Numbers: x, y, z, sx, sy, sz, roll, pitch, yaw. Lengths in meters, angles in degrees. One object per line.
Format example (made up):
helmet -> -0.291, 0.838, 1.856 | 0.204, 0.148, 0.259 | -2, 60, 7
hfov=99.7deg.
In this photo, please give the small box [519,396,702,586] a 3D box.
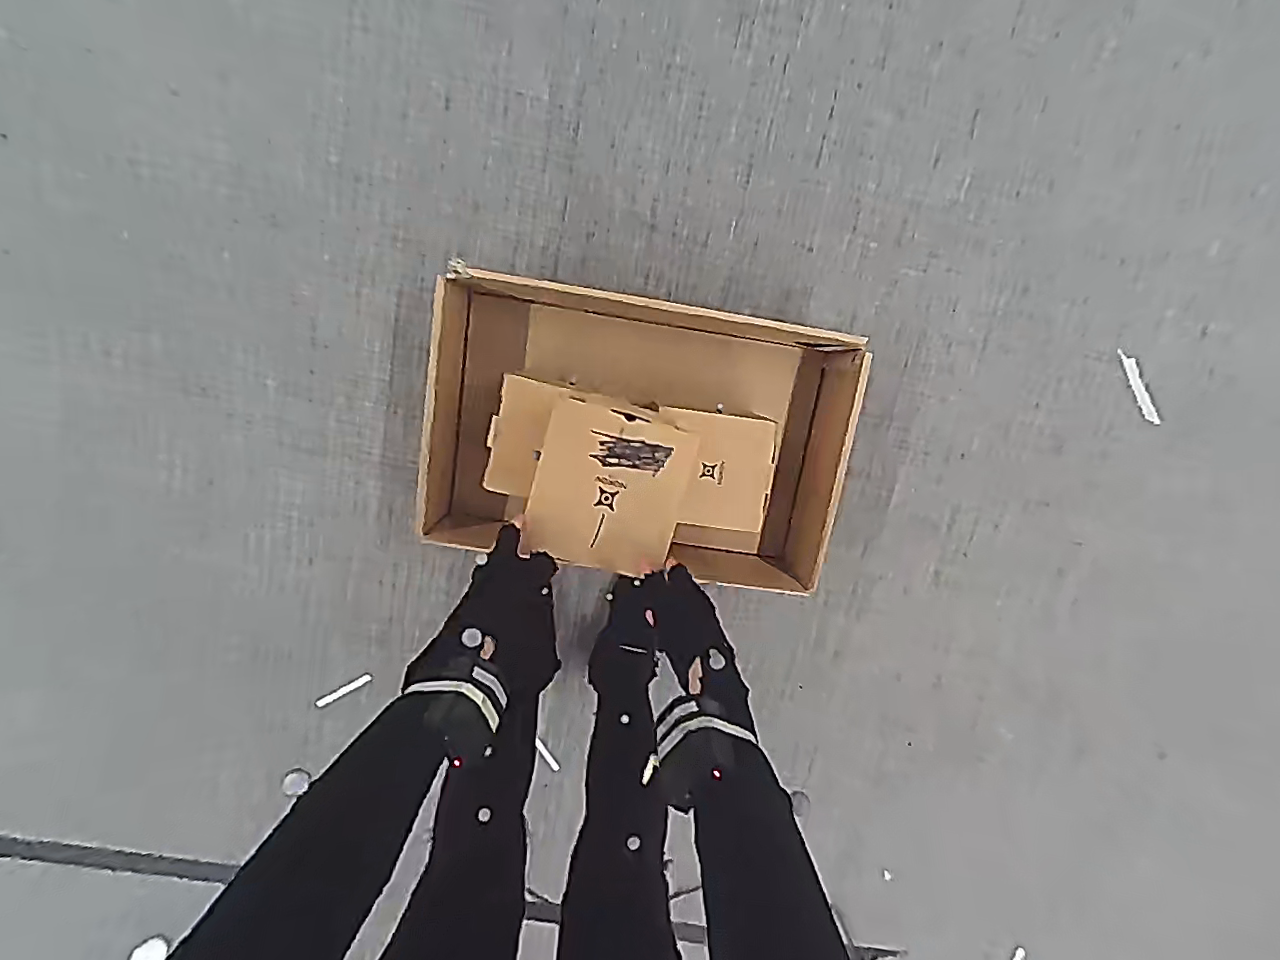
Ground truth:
small box -> -0.042, 0.009, 0.674 | 0.168, 0.176, 0.179 | 17, 92, -8
